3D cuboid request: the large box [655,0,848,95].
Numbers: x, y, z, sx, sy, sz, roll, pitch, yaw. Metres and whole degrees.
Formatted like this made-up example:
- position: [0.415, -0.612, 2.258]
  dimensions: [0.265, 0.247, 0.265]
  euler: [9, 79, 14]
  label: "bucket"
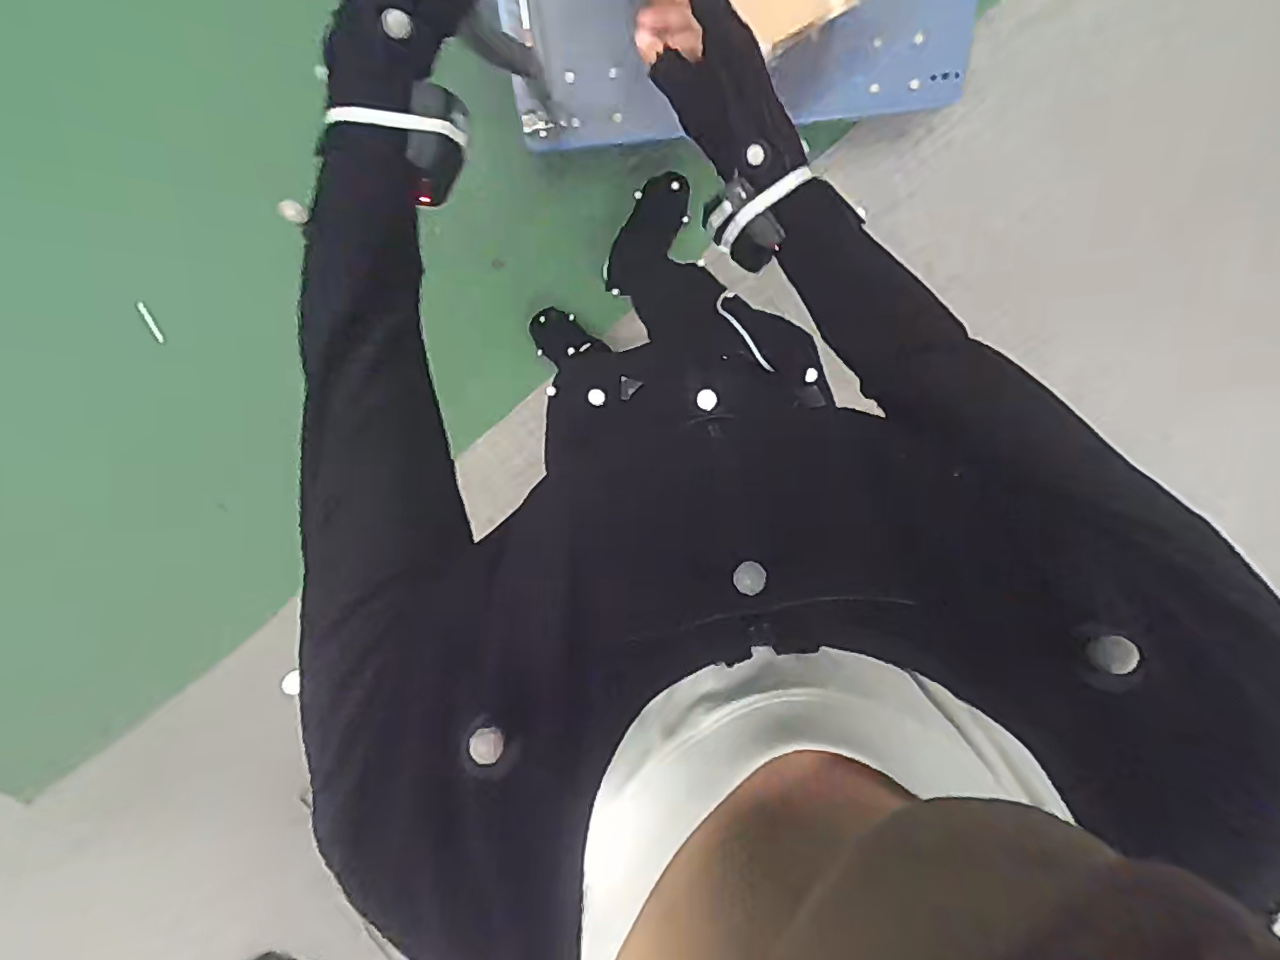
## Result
- position: [0.150, -0.868, 0.772]
  dimensions: [0.320, 0.320, 0.408]
  euler: [-26, 116, 7]
  label: "large box"
